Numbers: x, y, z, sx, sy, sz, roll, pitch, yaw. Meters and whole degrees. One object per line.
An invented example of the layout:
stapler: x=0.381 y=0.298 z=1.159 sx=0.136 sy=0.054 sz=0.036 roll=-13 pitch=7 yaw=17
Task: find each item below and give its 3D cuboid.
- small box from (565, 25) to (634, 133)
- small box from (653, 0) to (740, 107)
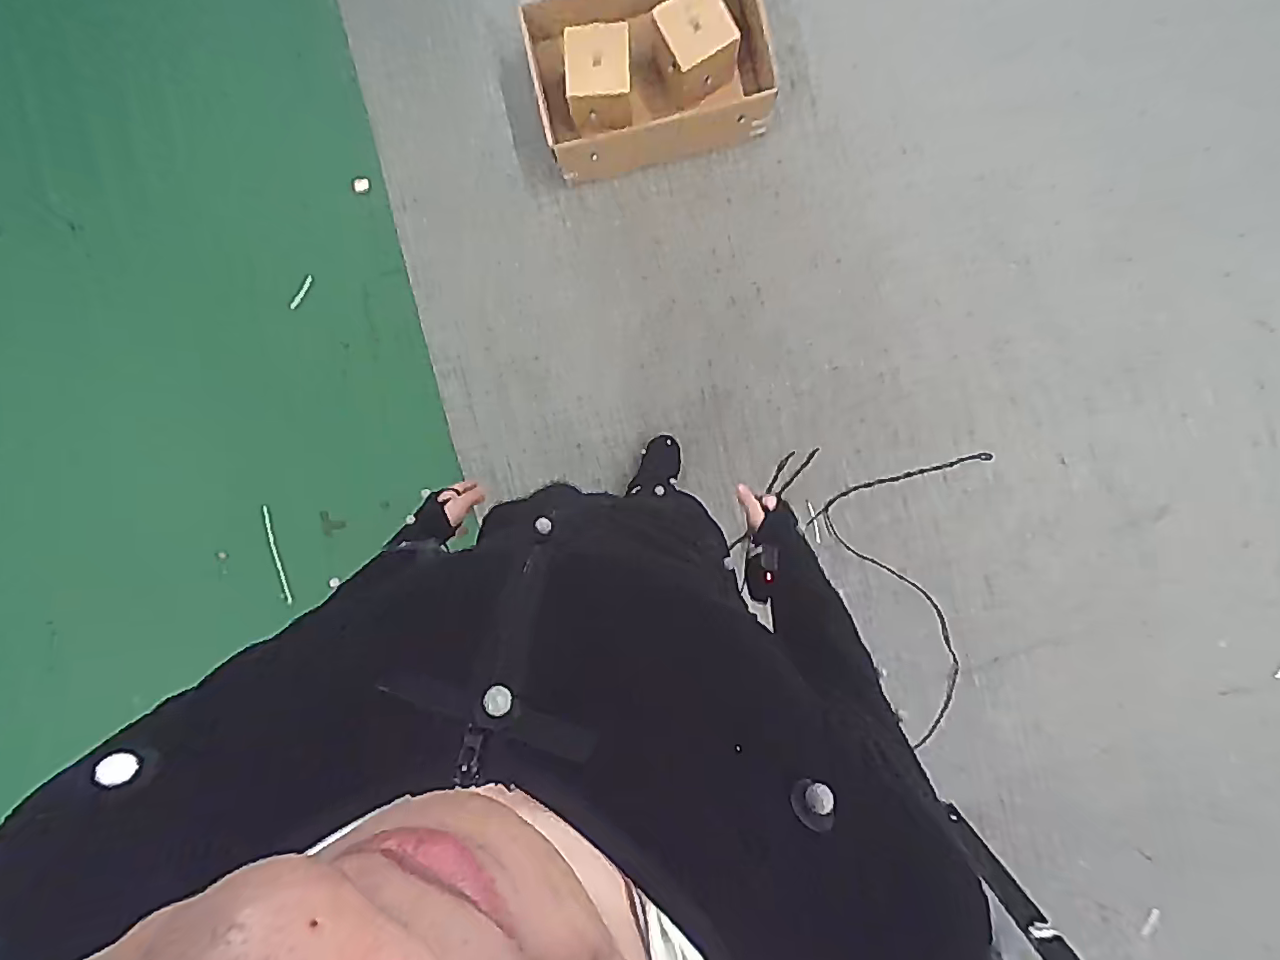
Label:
small box: x=-0.103 y=-1.062 z=1.449 sx=0.168 sy=0.176 sz=0.179 roll=-2 pitch=91 yaw=3
small box: x=0.148 y=-1.137 z=1.431 sx=0.168 sy=0.176 sz=0.179 roll=-28 pitch=91 yaw=4
